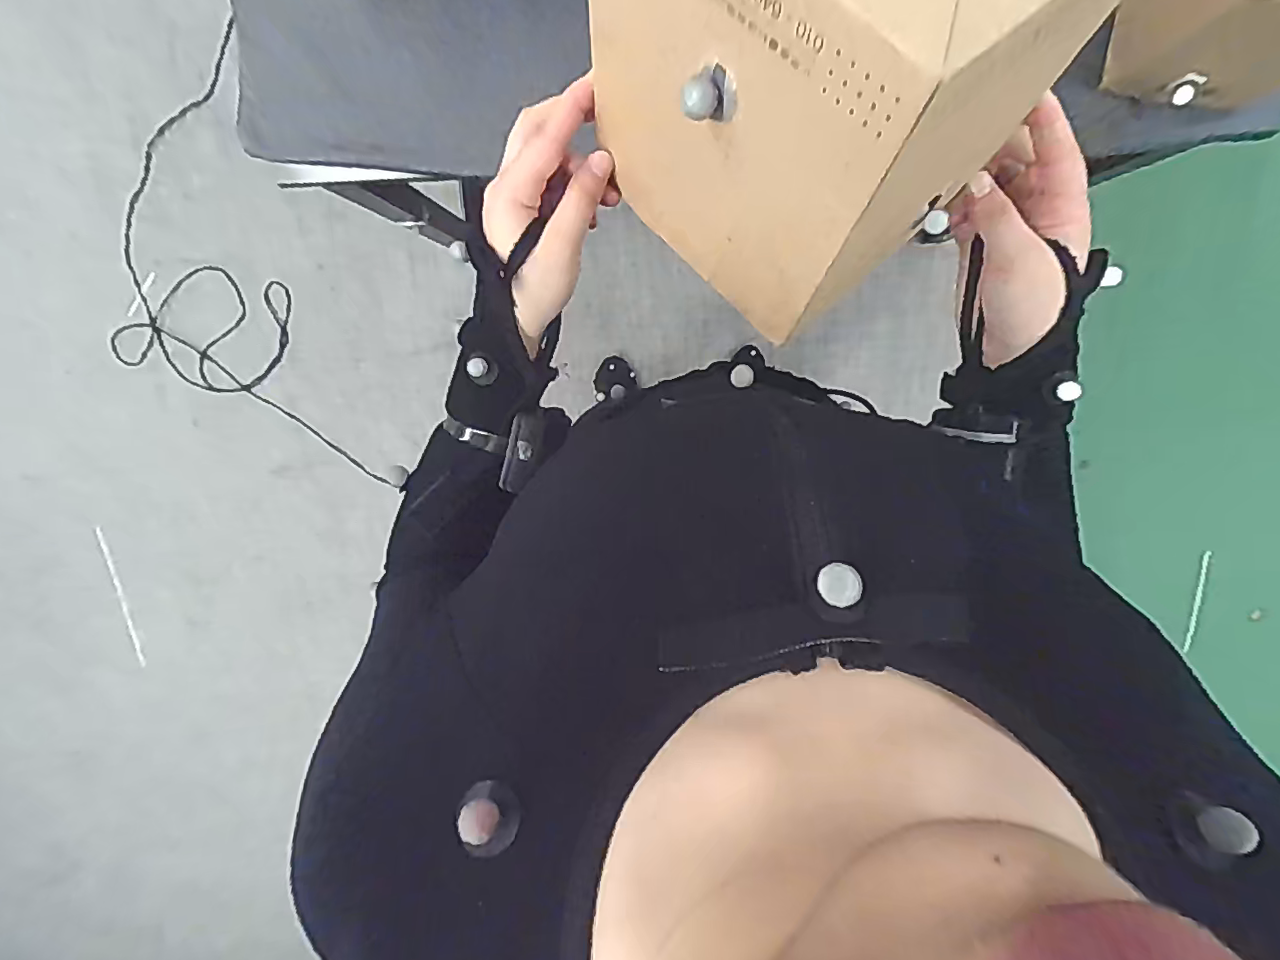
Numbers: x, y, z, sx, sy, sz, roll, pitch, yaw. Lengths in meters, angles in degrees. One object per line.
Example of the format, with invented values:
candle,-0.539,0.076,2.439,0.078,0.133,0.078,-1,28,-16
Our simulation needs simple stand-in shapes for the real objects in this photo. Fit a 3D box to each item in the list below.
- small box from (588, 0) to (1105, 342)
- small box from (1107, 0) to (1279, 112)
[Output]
small box,0.092,-0.211,0.267,0.179,0.176,0.168,-41,80,-11
small box,0.612,-0.501,0.524,0.168,0.176,0.179,7,101,2
